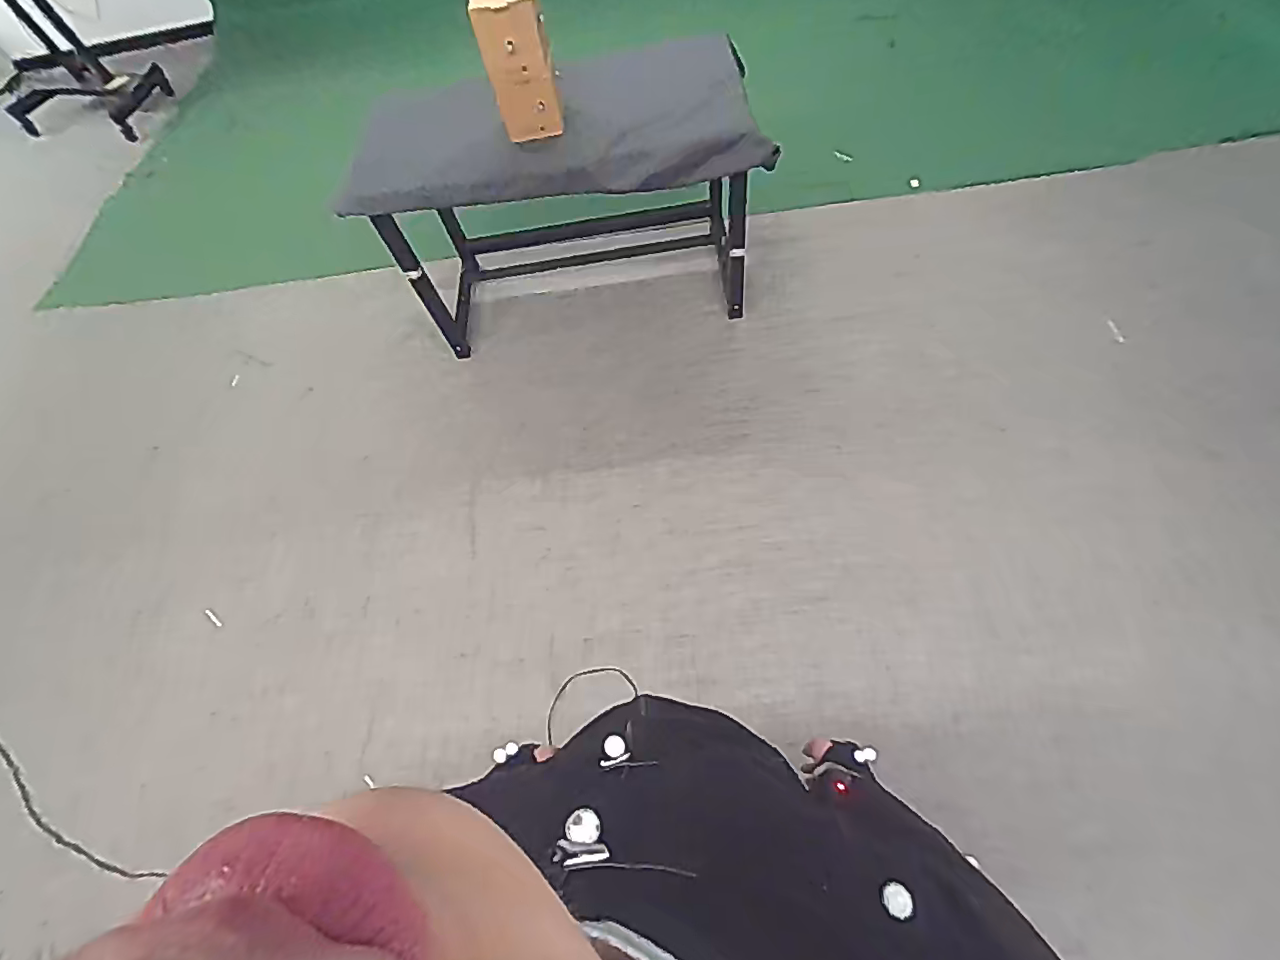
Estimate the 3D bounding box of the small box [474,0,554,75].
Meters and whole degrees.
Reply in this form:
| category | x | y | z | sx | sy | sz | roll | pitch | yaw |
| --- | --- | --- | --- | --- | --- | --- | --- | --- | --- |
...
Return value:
| category | x | y | z | sx | sy | sz | roll | pitch | yaw |
| --- | --- | --- | --- | --- | --- | --- | --- | --- | --- |
| small box | -0.334 | -1.235 | 1.469 | 0.168 | 0.176 | 0.179 | -5 | 62 | 4 |

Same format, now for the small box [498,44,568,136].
| category | x | y | z | sx | sy | sz | roll | pitch | yaw |
| --- | --- | --- | --- | --- | --- | --- | --- | --- | --- |
| small box | -0.313 | -1.152 | 1.610 | 0.168 | 0.176 | 0.179 | -6 | 60 | 3 |
